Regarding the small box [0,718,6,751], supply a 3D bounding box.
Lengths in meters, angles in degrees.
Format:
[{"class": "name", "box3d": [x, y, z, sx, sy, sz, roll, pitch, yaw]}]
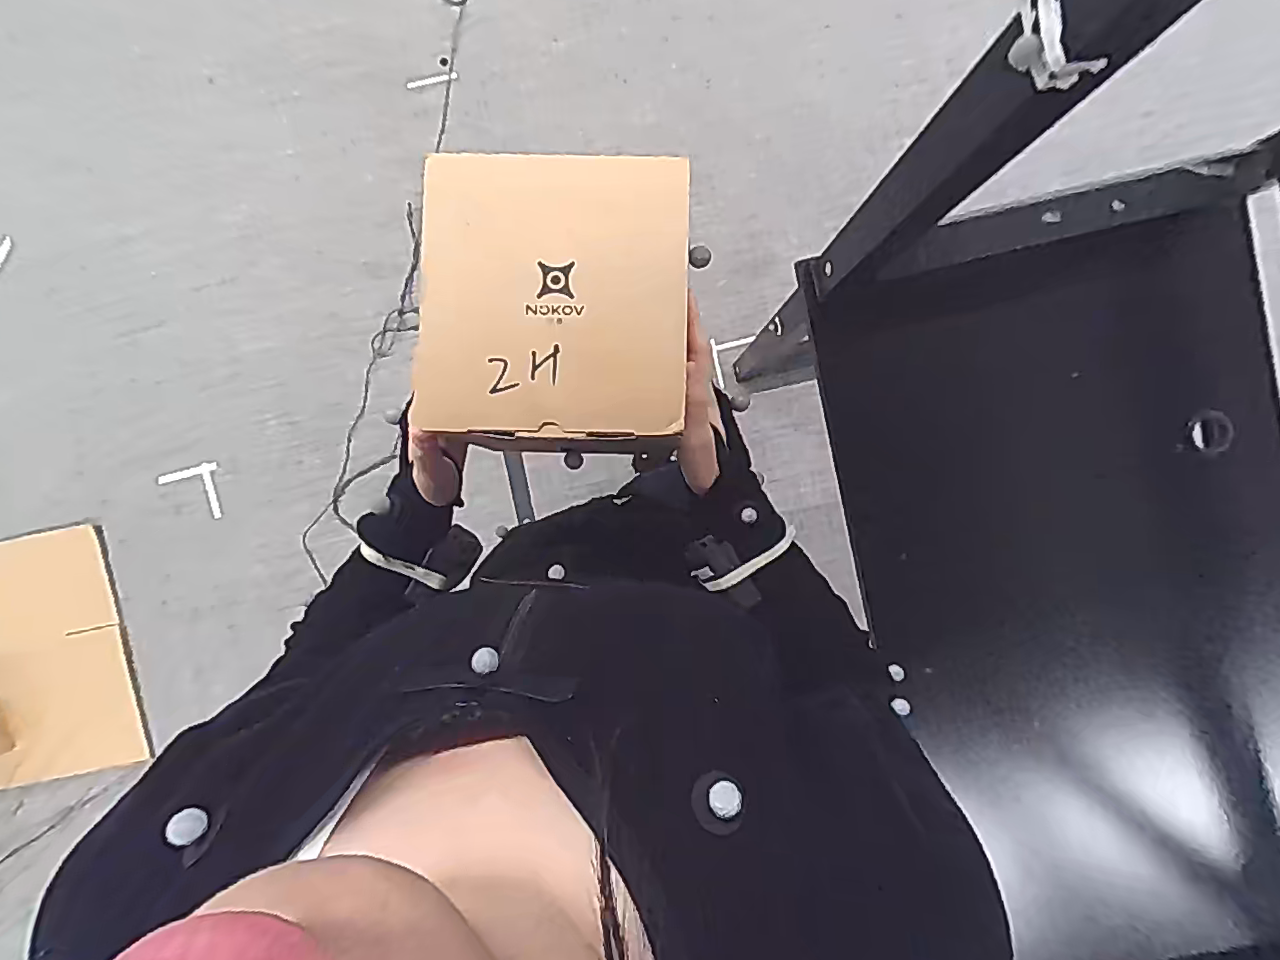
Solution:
[{"class": "small box", "box3d": [-1.893, 0.711, 1.461, 0.179, 0.176, 0.168, -19, 92, 1]}]

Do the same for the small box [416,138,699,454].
[{"class": "small box", "box3d": [-0.049, -0.116, 0.406, 0.168, 0.176, 0.179, 2, 89, 1]}]
